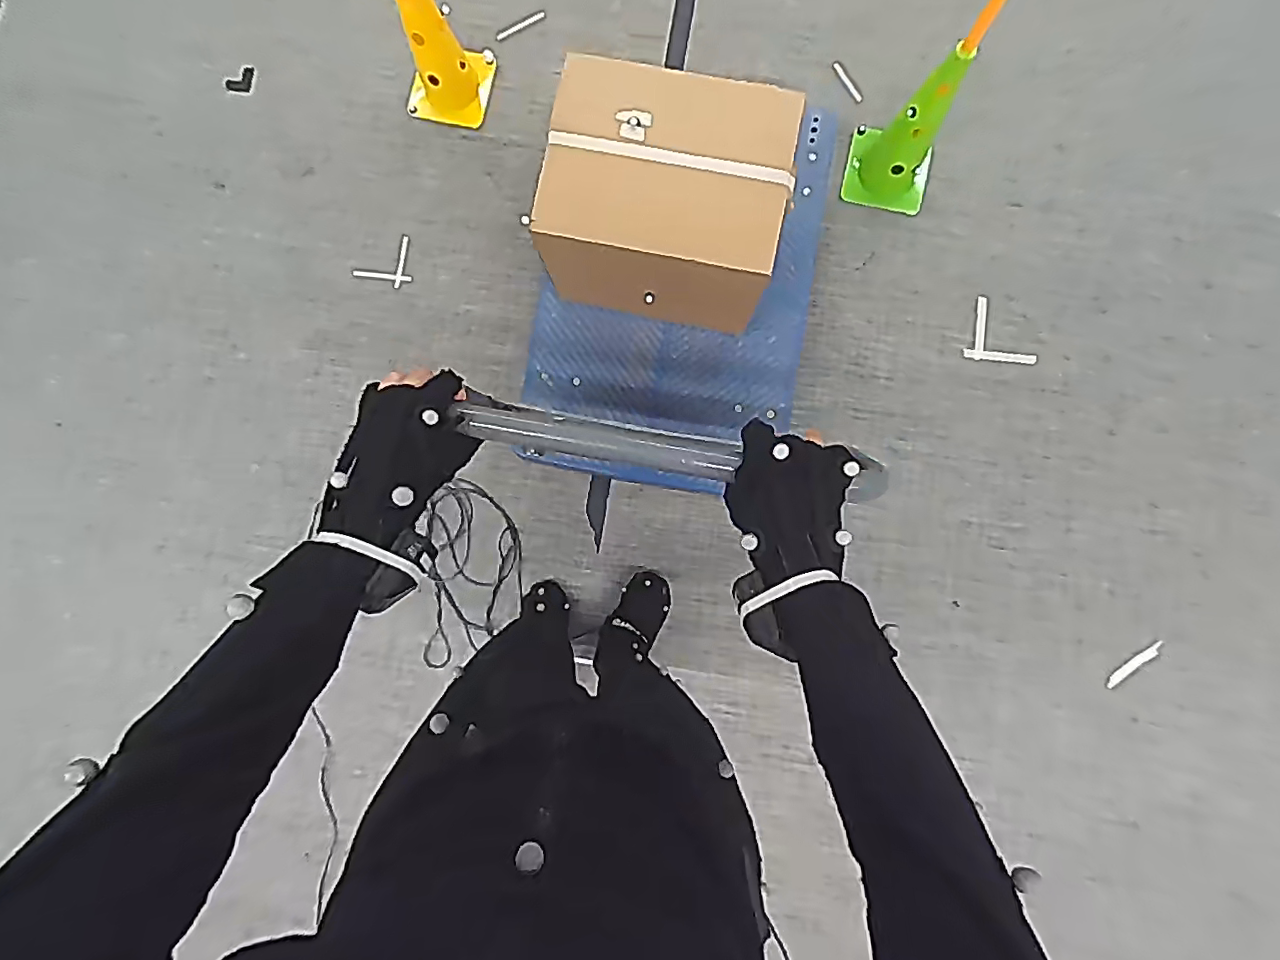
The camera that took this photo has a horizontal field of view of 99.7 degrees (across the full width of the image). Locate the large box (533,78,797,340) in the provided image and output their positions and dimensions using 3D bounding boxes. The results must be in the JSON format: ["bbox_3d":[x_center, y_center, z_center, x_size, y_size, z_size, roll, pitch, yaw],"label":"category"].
[{"bbox_3d":[0.050,-0.493,1.052,0.408,0.320,0.320,12,87,3],"label":"large box"}]

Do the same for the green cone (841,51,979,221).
[{"bbox_3d":[0.618,-0.777,1.197,0.202,0.368,0.200,13,87,1],"label":"green cone"}]
